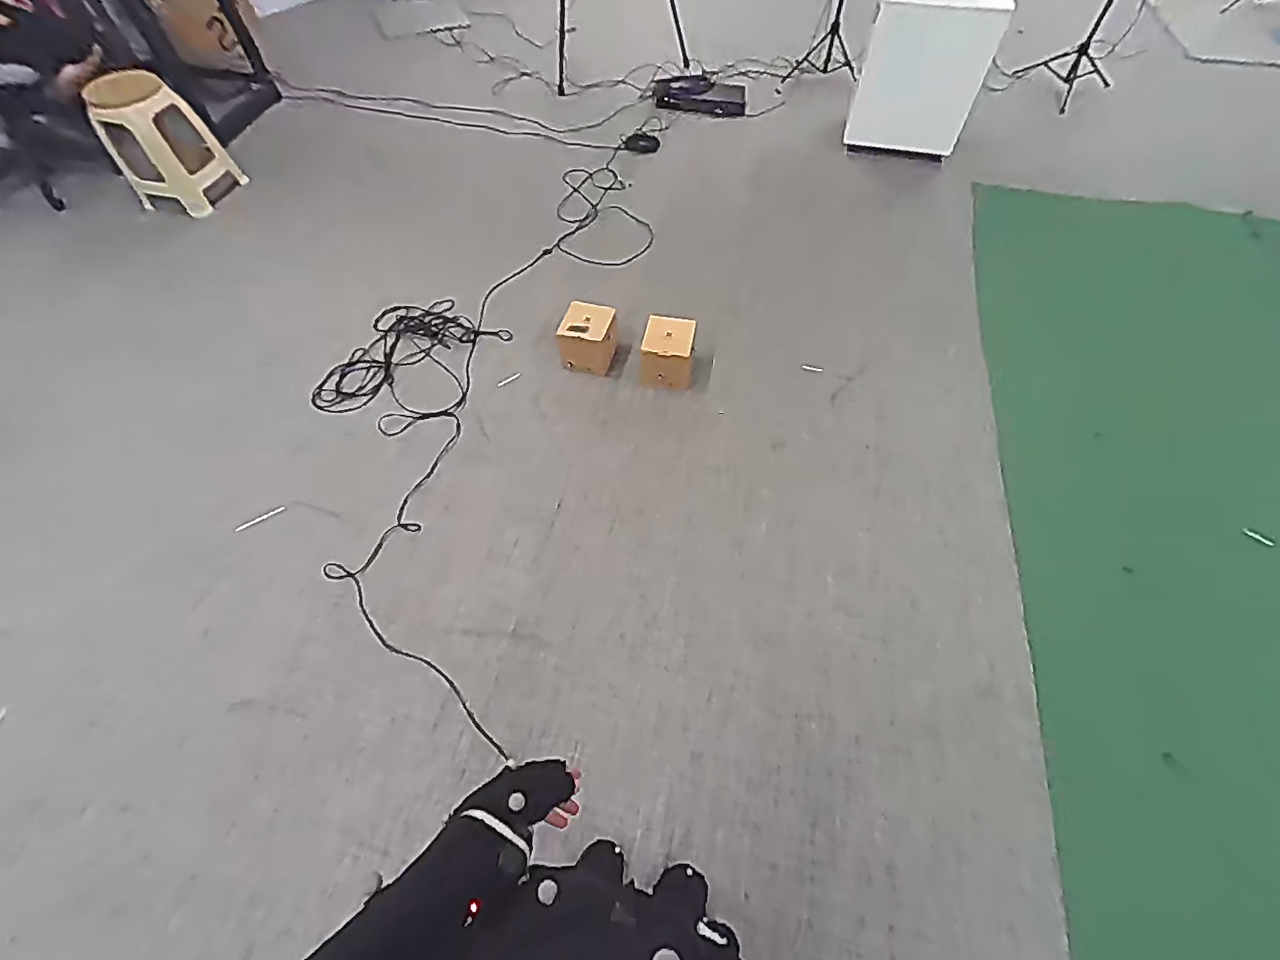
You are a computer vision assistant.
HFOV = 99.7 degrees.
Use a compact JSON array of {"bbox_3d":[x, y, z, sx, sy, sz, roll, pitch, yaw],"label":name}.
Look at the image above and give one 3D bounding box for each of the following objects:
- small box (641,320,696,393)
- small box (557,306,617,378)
[{"bbox_3d":[0.098,-0.433,1.901,0.168,0.176,0.179,9,59,7],"label":"small box"},{"bbox_3d":[-0.183,-0.494,1.943,0.168,0.176,0.179,13,58,9],"label":"small box"}]
